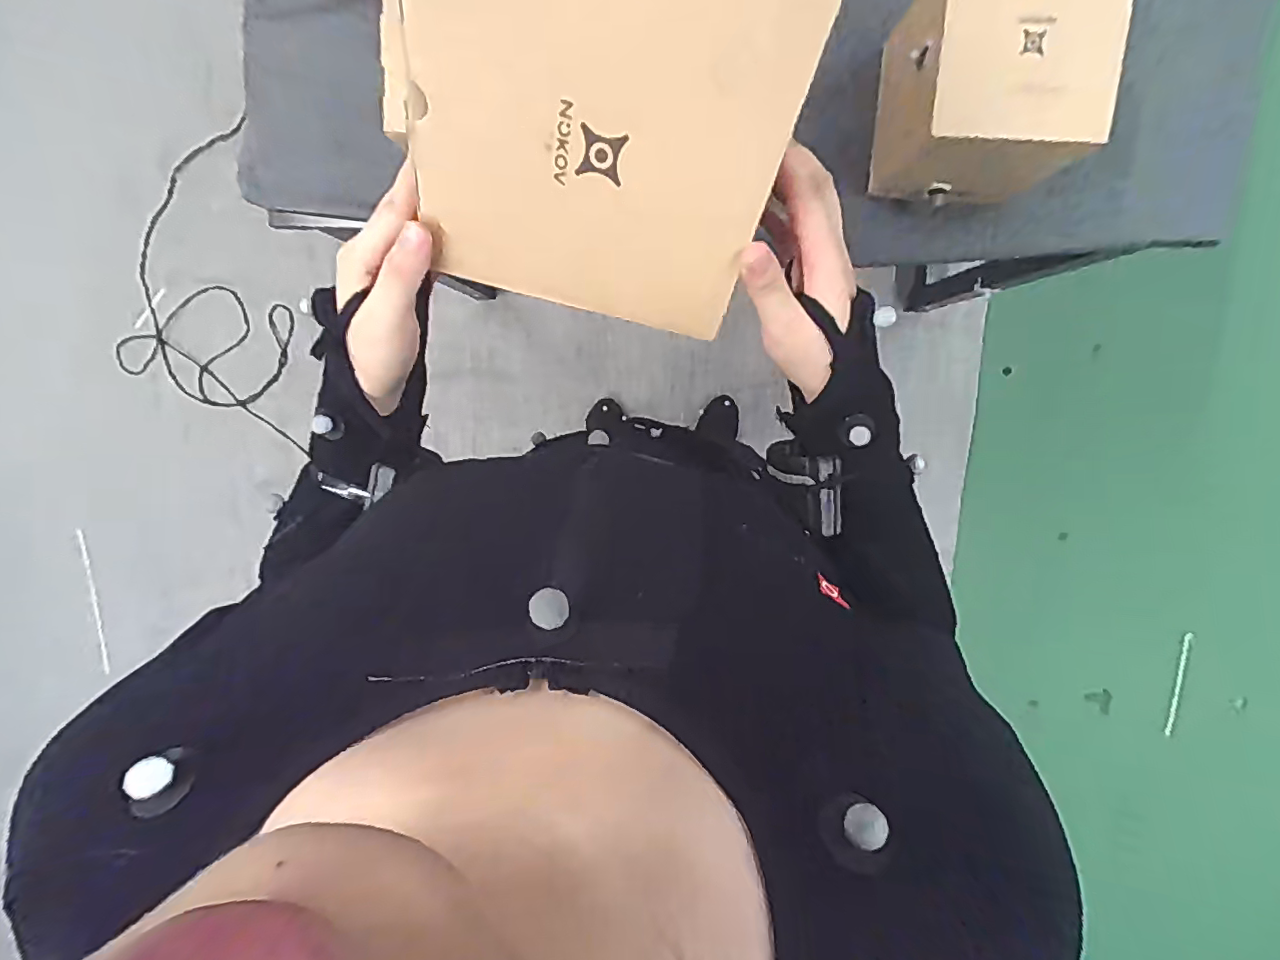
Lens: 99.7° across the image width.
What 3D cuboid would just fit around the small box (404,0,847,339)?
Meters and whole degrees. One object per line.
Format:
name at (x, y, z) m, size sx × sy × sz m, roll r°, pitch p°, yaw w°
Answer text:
small box at (-0.012, -0.212, 0.309) m, size 0.179 × 0.176 × 0.168 m, roll 12°, pitch 138°, yaw -4°

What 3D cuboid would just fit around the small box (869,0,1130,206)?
small box at (0.361, -0.416, 0.576) m, size 0.168 × 0.176 × 0.179 m, roll 4°, pitch 99°, yaw 3°

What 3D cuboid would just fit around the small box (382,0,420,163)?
small box at (-0.159, -0.428, 0.596) m, size 0.179 × 0.176 × 0.168 m, roll 5°, pitch 100°, yaw 2°
